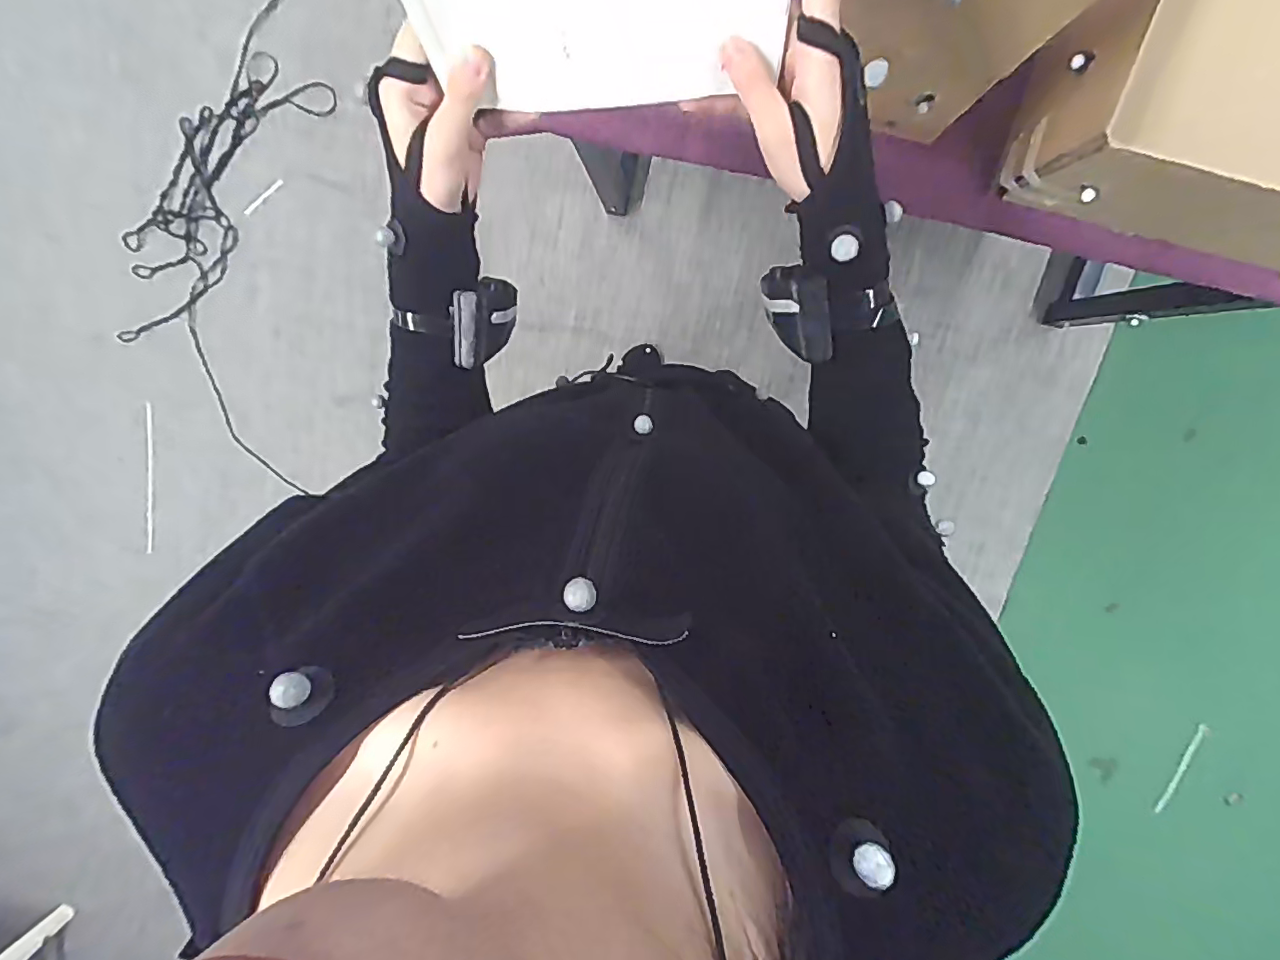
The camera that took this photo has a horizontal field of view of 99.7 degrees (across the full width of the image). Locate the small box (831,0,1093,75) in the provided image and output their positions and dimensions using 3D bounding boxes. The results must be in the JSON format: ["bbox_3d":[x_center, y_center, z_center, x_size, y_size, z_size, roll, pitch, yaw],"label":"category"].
[{"bbox_3d":[0.272,-0.450,0.408,0.179,0.176,0.168,15,101,1],"label":"small box"}]

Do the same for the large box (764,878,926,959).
[{"bbox_3d":[0.596,1.452,1.609,0.408,0.320,0.320,-1,102,3],"label":"large box"}]

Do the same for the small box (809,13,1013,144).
[{"bbox_3d":[0.292,-0.489,0.566,0.168,0.176,0.179,15,101,1],"label":"small box"}]
